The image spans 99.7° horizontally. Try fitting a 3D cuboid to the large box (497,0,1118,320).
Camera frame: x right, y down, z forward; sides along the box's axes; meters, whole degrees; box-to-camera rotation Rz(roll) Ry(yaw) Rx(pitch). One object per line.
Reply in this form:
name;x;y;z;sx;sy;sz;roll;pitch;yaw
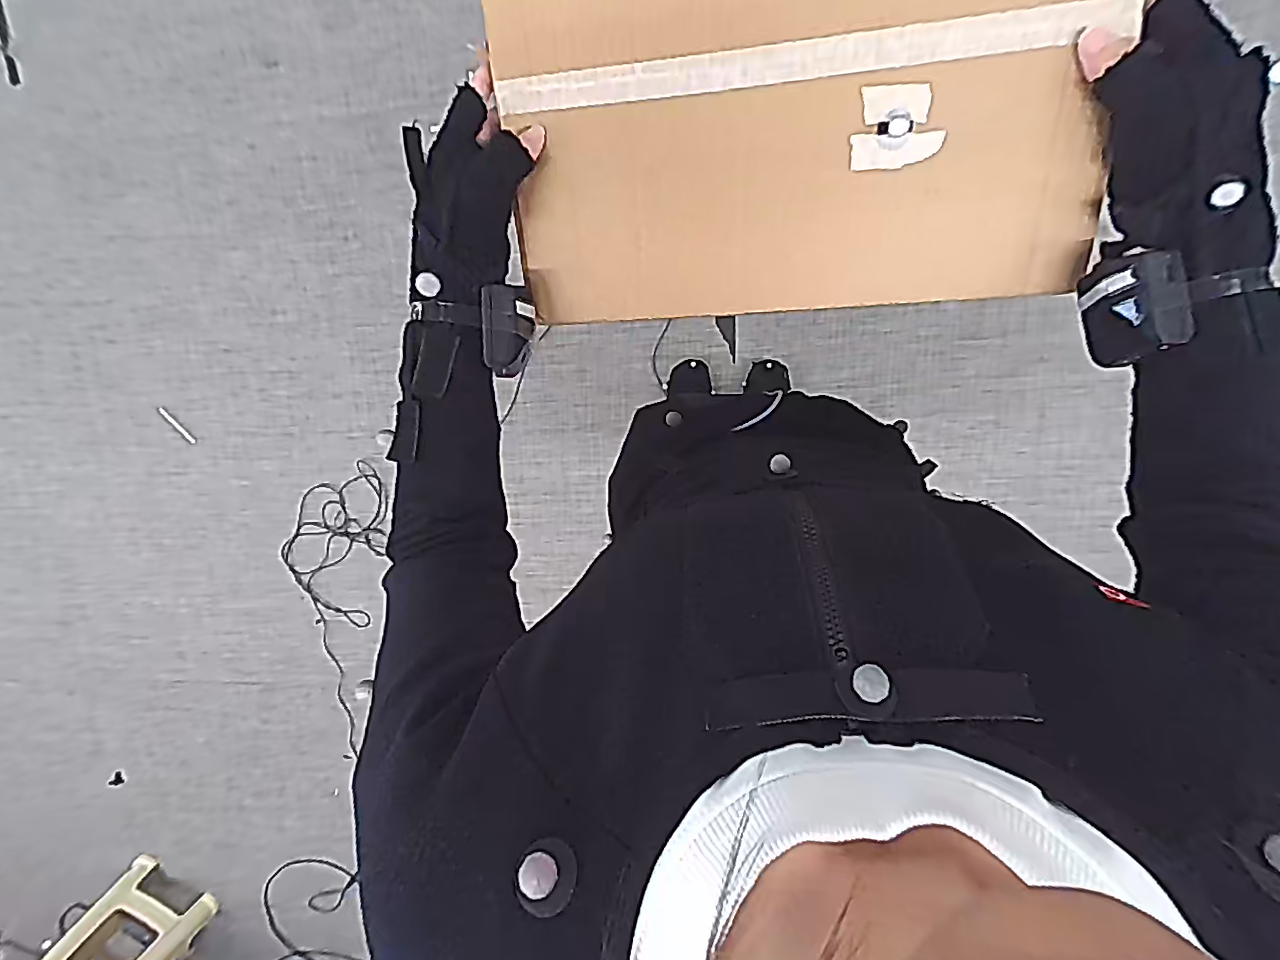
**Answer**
large box;0.117;-0.337;0.504;0.408;0.320;0.320;-1;112;8
